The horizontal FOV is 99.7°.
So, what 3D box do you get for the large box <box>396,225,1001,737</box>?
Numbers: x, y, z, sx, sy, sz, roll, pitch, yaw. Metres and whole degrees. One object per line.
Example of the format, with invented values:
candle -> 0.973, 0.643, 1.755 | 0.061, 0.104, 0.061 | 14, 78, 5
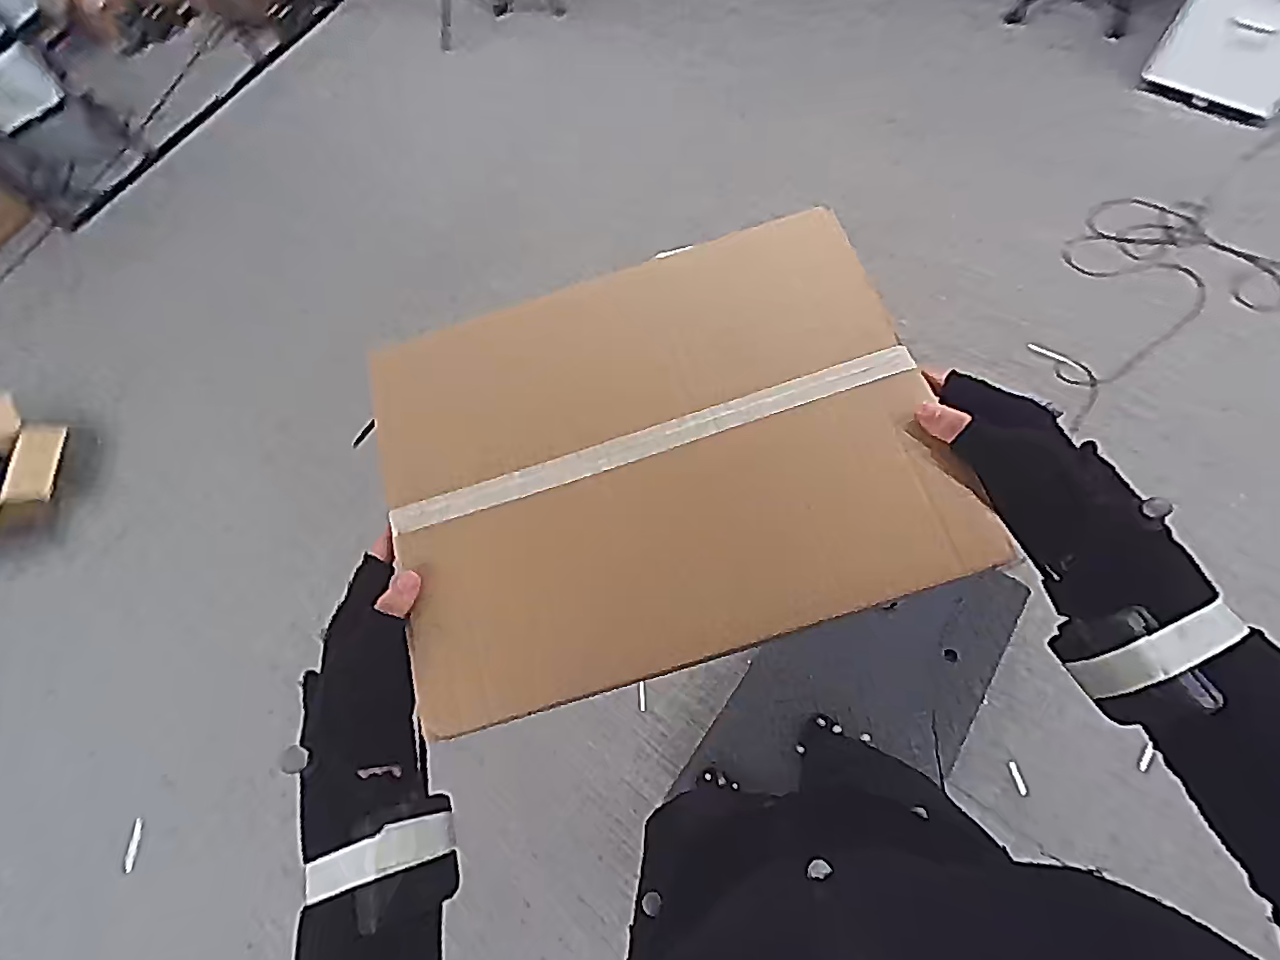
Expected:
large box -> 0.036, 0.024, 0.557 | 0.408, 0.320, 0.320 | -17, 70, 2
